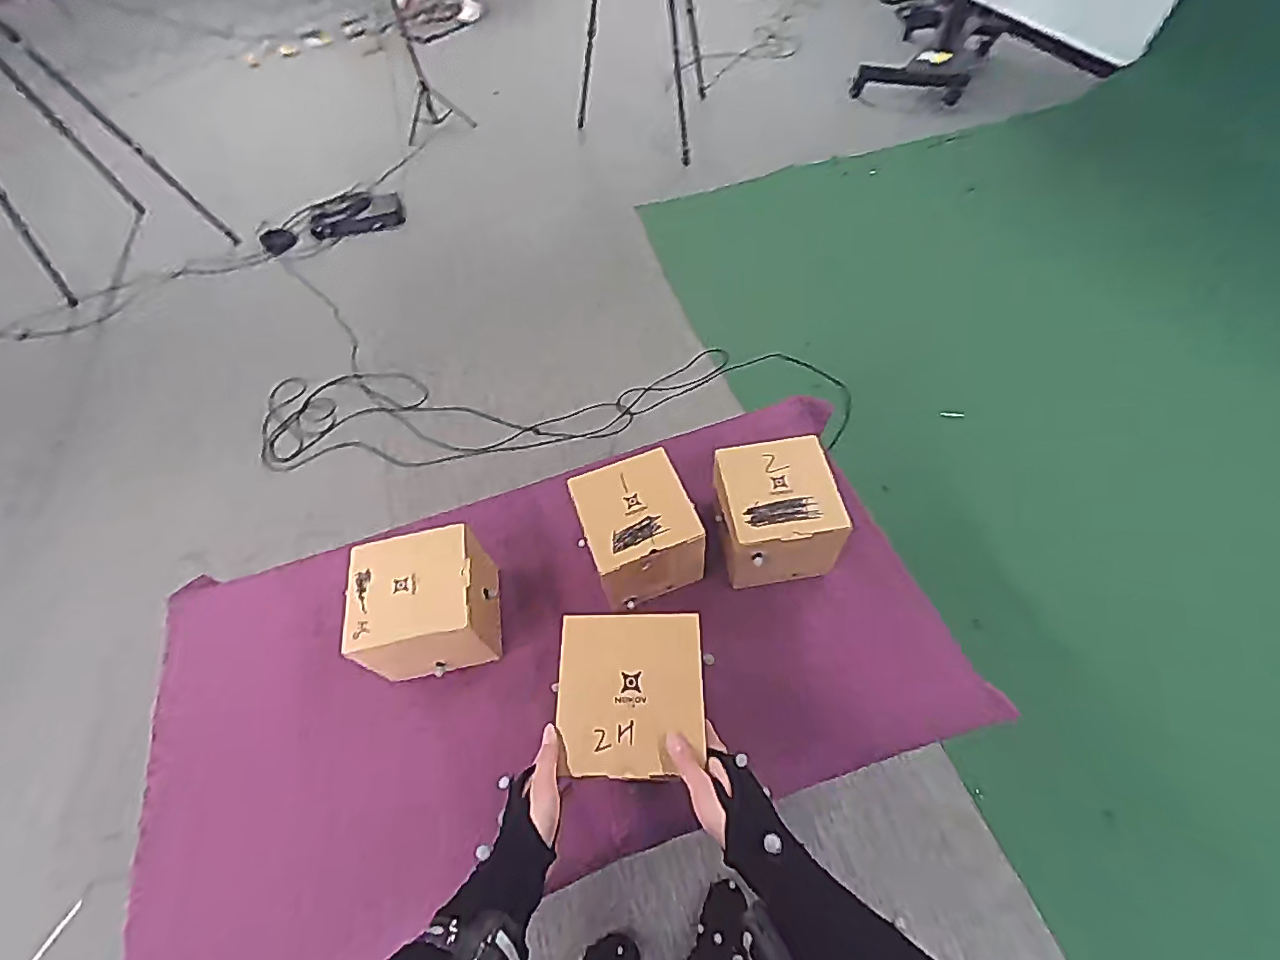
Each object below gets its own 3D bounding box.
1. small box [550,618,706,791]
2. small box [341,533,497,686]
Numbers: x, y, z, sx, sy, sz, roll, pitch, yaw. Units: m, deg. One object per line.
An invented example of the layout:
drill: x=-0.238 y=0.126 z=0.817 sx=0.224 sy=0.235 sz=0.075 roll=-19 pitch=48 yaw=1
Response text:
small box: x=-0.007 y=0.283 z=0.673 sx=0.168 sy=0.176 sz=0.179 roll=0 pitch=60 yaw=4
small box: x=-0.327 y=0.205 z=0.838 sx=0.179 sy=0.176 sz=0.168 roll=-11 pitch=56 yaw=-3
